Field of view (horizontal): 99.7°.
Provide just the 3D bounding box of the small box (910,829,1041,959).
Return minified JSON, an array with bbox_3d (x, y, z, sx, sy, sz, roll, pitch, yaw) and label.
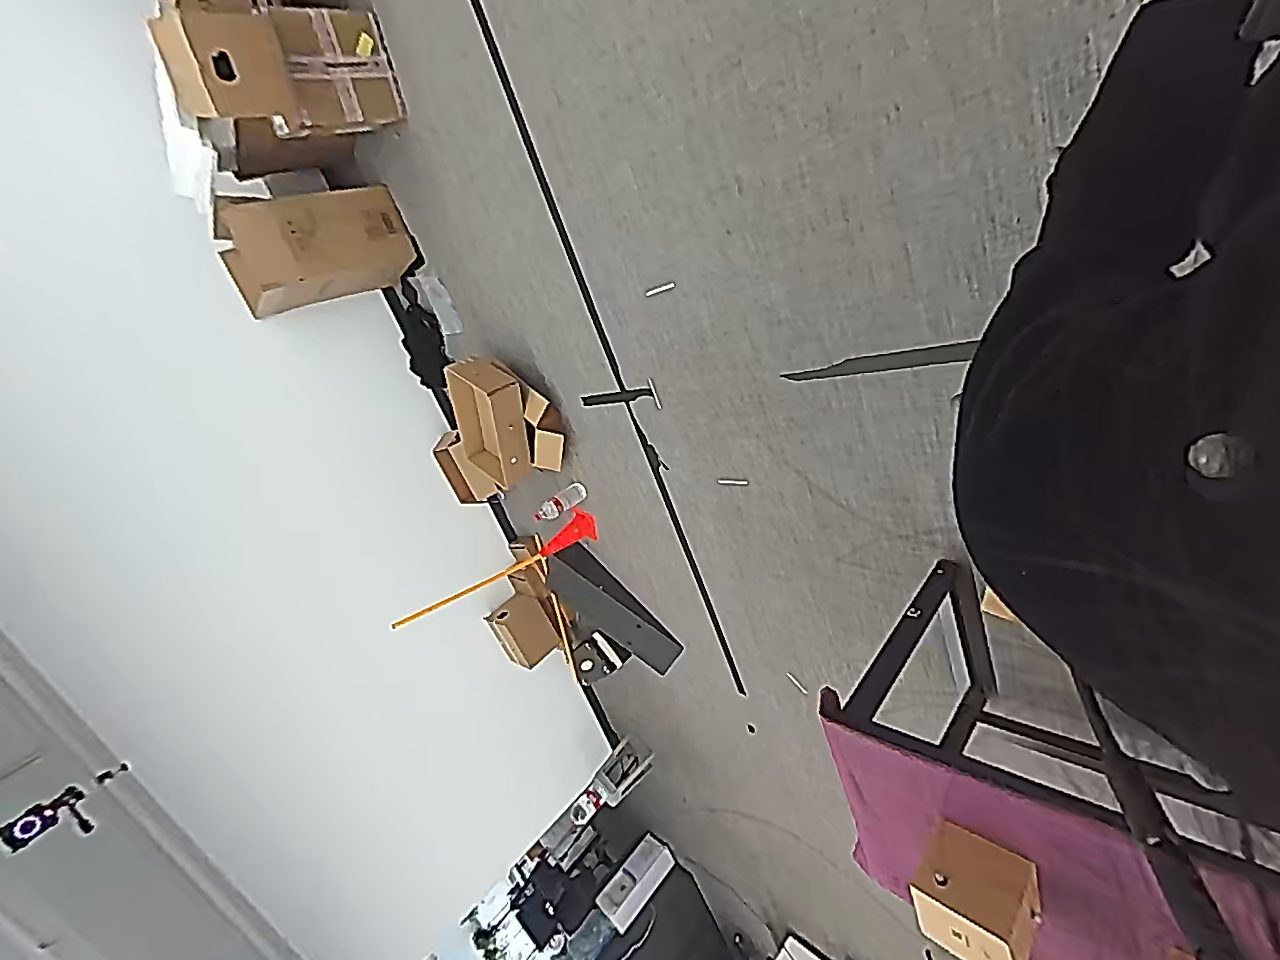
[{"bbox_3d":[0.672,0.847,1.082,0.179,0.176,0.168,4,122,49],"label":"small box"}]
